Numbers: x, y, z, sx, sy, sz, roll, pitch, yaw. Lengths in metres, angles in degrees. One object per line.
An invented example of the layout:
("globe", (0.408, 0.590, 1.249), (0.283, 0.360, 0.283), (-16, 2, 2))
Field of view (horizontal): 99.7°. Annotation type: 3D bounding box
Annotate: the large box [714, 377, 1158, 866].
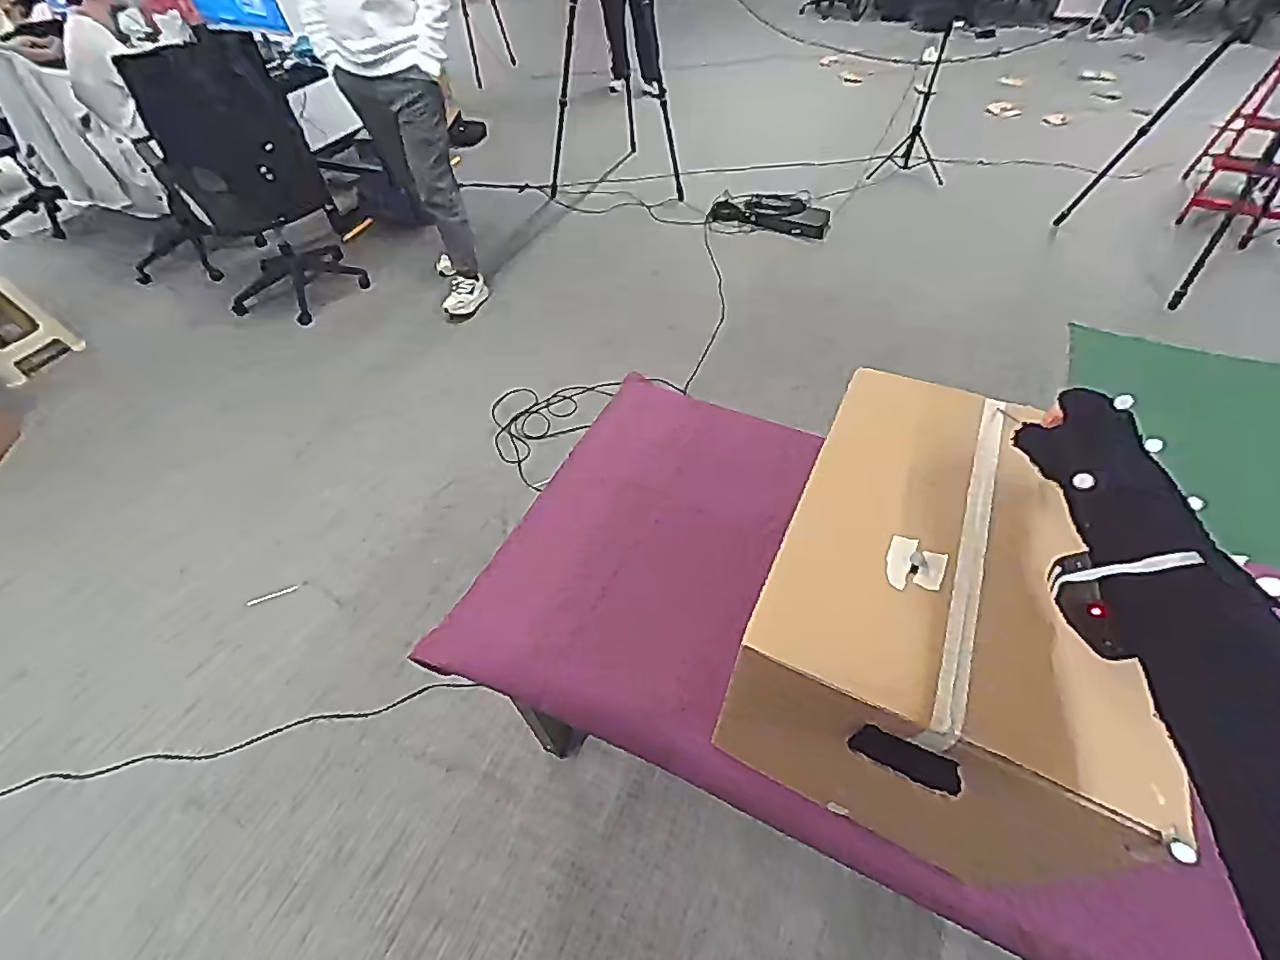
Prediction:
("large box", (0.313, 0.152, 0.642), (0.320, 0.320, 0.408), (21, 55, 19))
